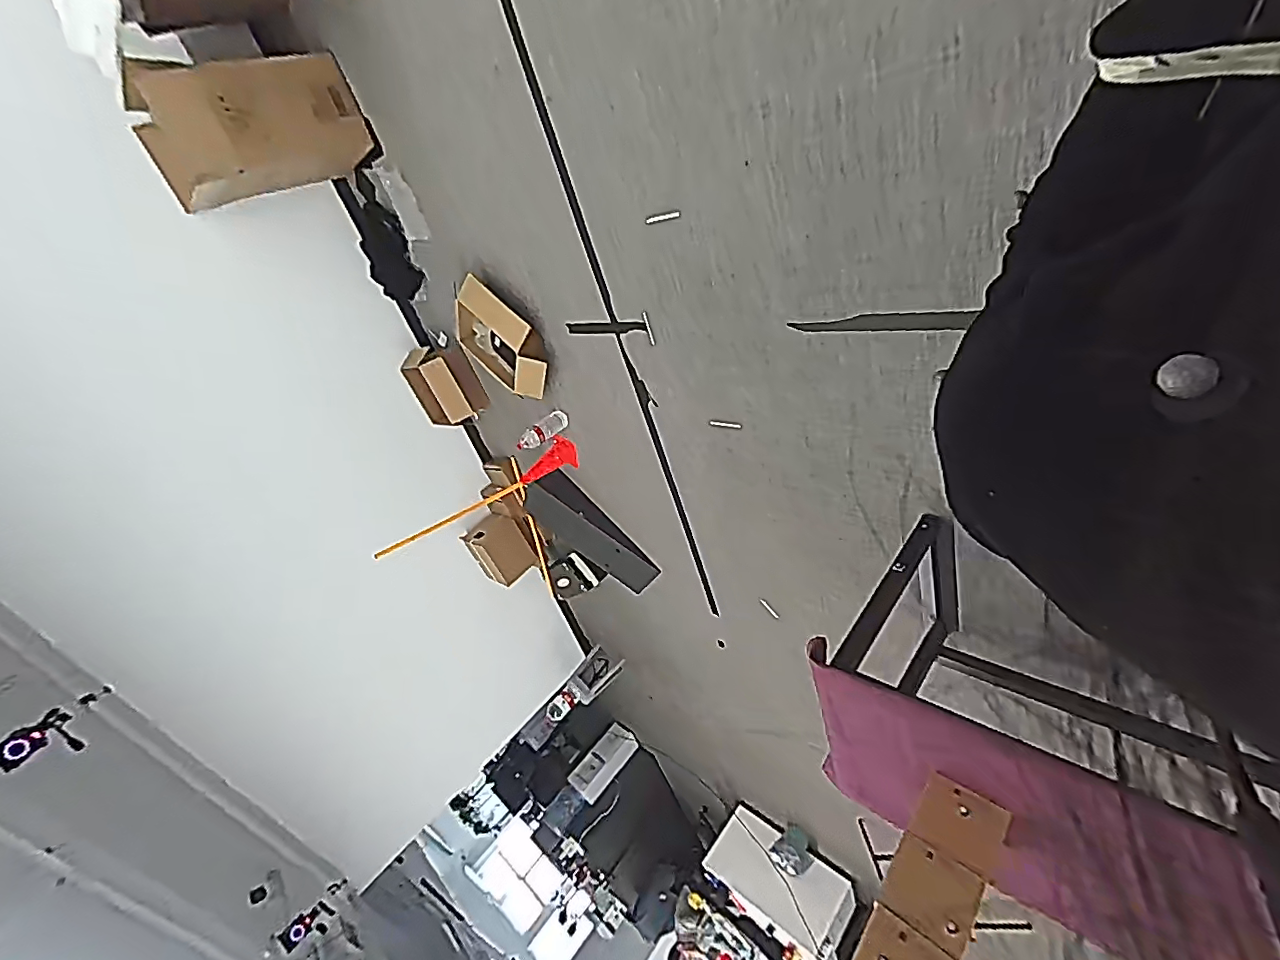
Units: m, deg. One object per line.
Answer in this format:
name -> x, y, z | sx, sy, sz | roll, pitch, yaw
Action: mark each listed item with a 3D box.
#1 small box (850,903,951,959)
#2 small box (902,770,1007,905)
small box -> 0.521, 1.007, 1.091 | 0.168, 0.176, 0.179 | 22, 141, 39
small box -> 0.734, 0.829, 1.263 | 0.168, 0.176, 0.179 | 19, 138, 40
